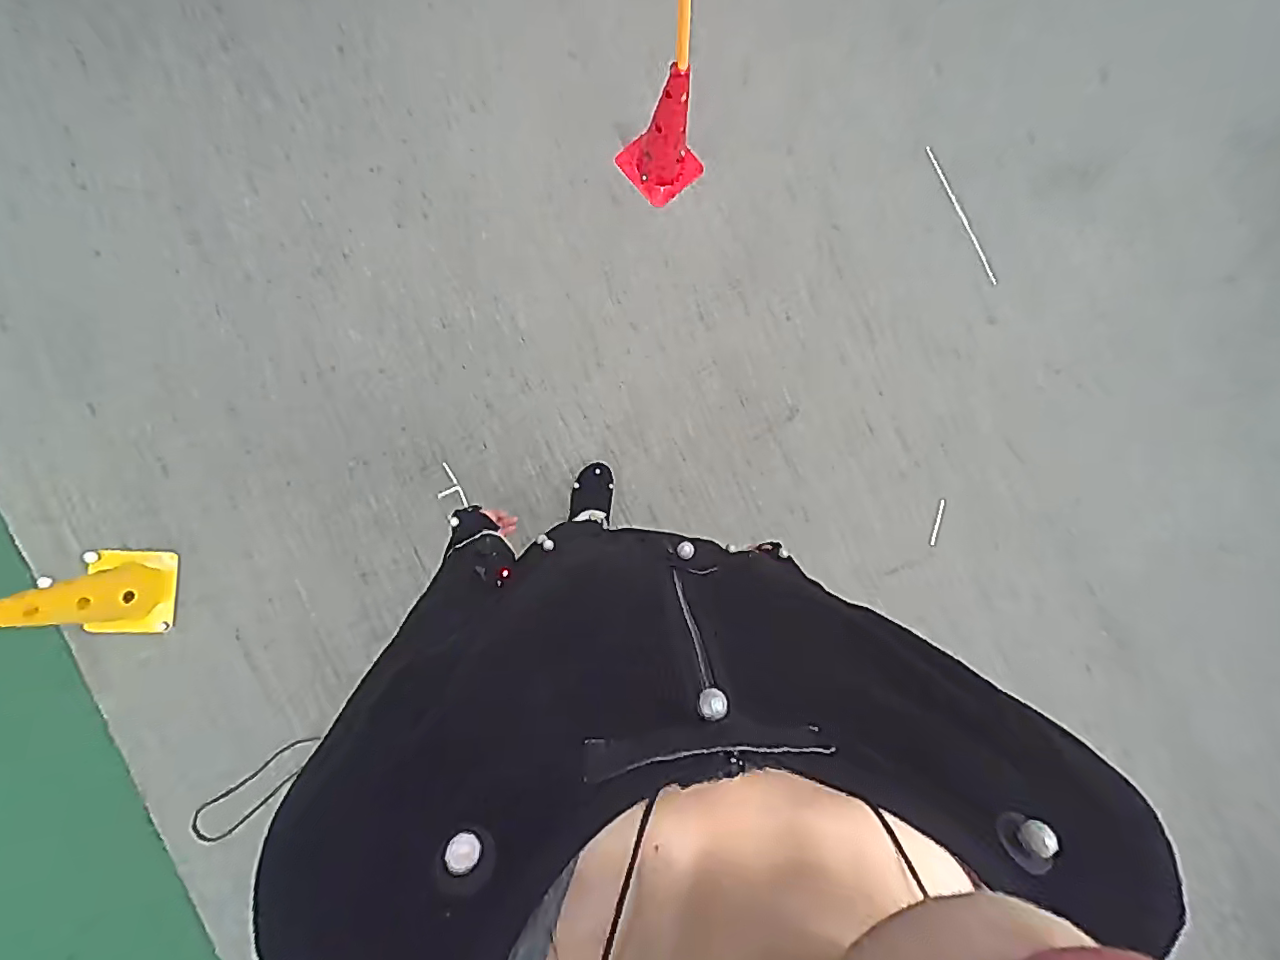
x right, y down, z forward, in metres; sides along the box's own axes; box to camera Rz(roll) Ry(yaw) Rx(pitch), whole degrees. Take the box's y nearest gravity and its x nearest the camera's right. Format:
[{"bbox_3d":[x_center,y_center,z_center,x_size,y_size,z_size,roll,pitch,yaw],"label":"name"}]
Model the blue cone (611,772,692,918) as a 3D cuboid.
[{"bbox_3d":[0.059,0.873,1.278,0.193,0.380,0.192,19,83,-8],"label":"blue cone"}]
